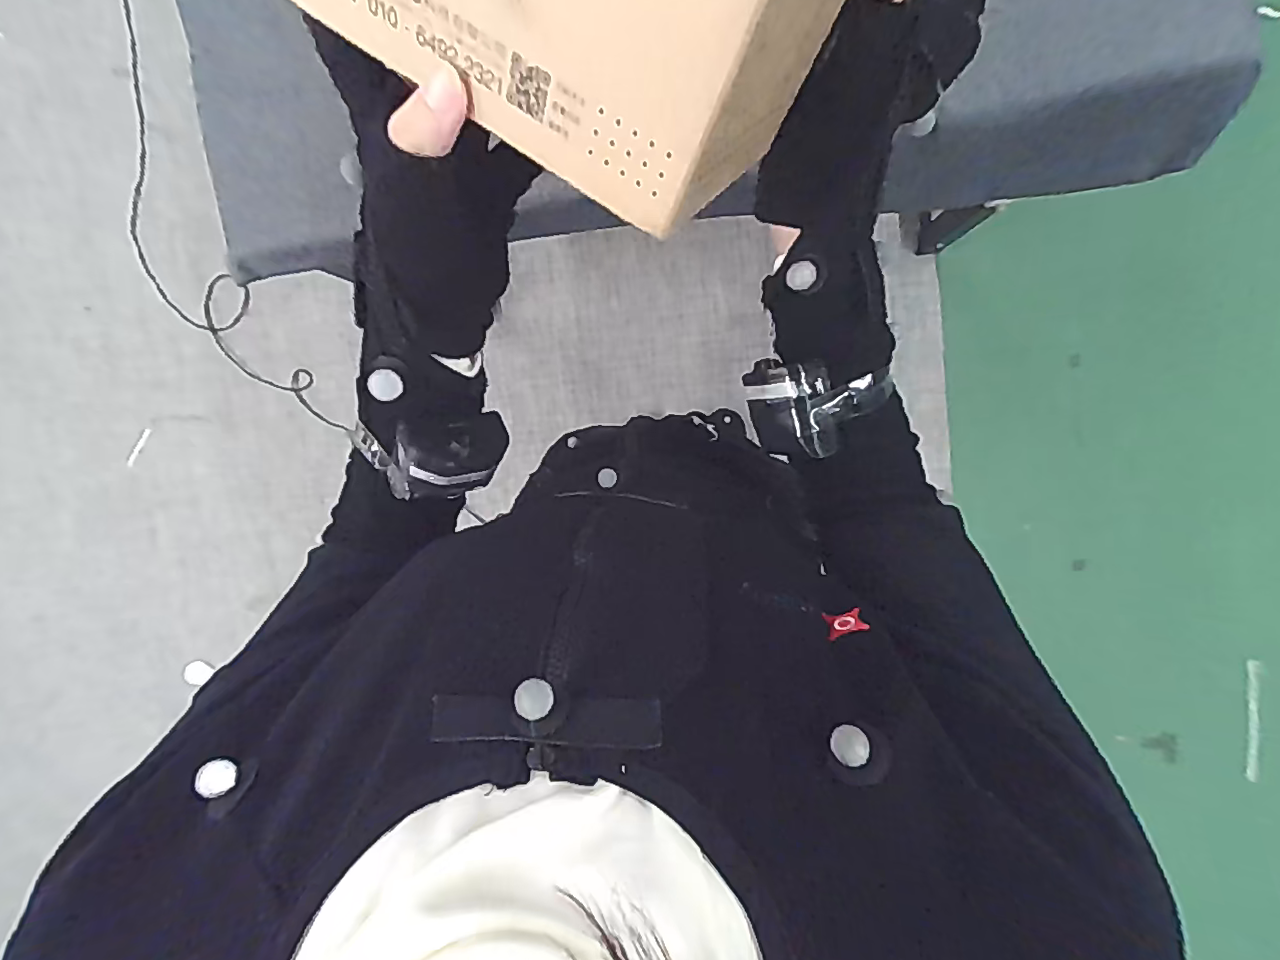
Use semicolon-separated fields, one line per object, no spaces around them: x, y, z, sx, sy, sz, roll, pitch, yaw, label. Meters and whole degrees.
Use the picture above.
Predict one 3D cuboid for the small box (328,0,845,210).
0.005;-0.234;0.187;0.168;0.179;0.176;34;142;1;small box
